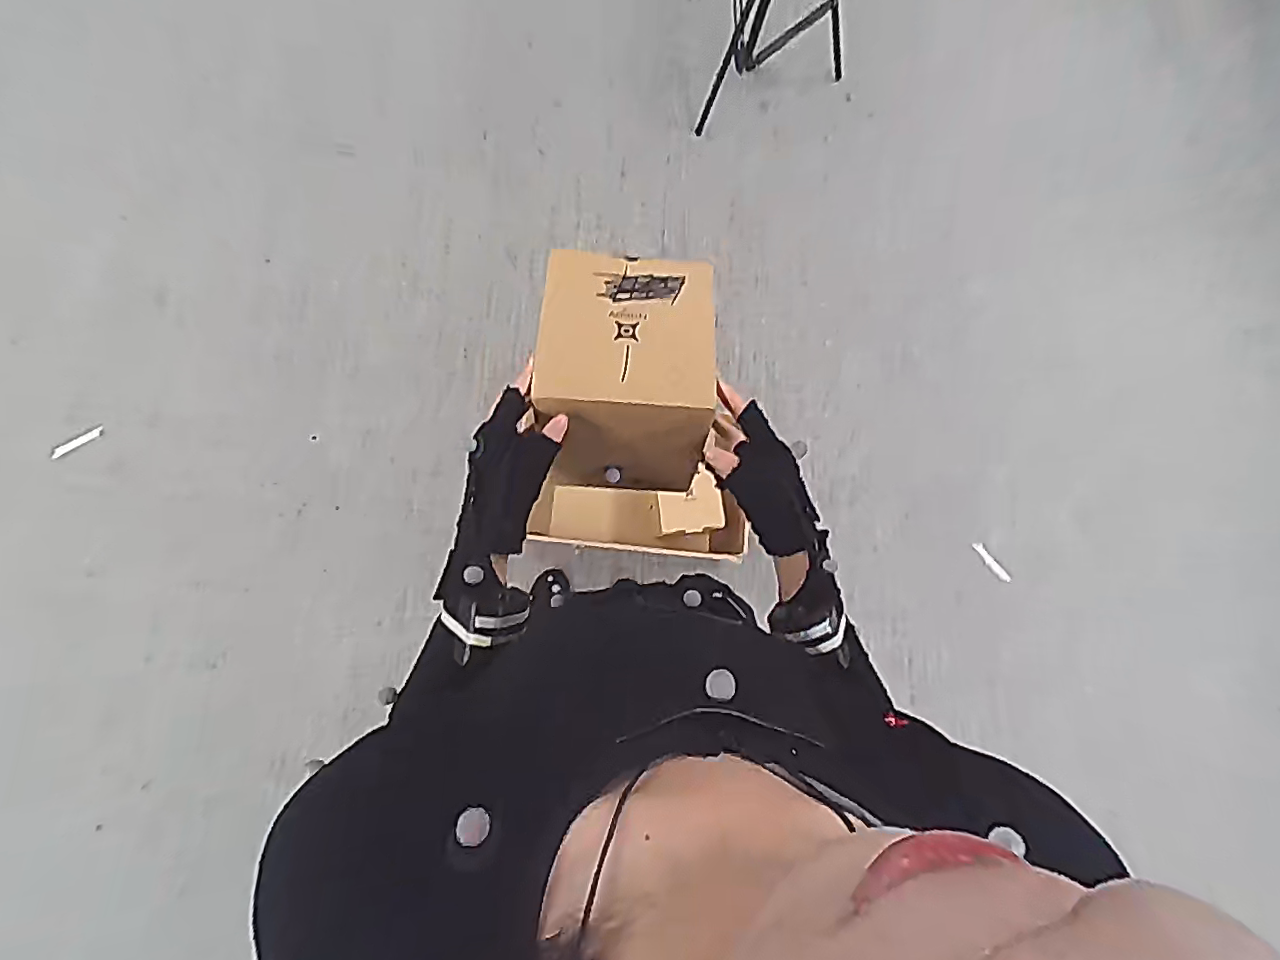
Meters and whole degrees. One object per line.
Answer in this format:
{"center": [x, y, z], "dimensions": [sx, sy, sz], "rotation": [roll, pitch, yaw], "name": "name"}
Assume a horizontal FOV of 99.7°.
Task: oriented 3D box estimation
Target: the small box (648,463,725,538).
{"center": [0.117, 0.060, 1.446], "dimensions": [0.168, 0.176, 0.179], "rotation": [-6, 80, -8], "name": "small box"}

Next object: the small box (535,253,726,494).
{"center": [-0.012, -0.104, 0.566], "dimensions": [0.168, 0.176, 0.179], "rotation": [3, 62, -4], "name": "small box"}
